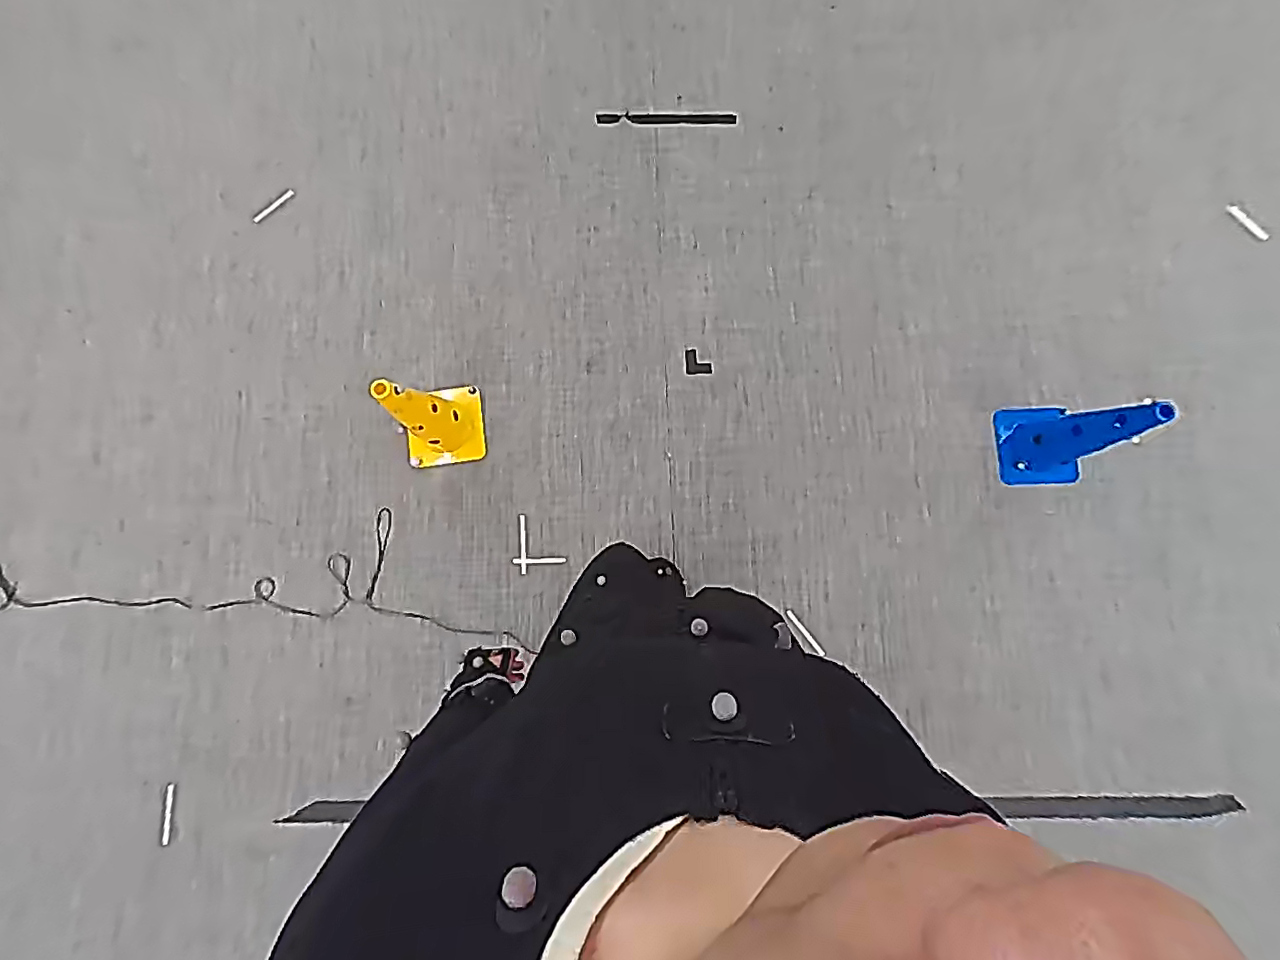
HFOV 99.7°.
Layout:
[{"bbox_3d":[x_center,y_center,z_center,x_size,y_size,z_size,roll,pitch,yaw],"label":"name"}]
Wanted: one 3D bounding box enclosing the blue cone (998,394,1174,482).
[{"bbox_3d":[1.024,-0.112,1.229,0.193,0.380,0.192,-1,82,0],"label":"blue cone"}]
